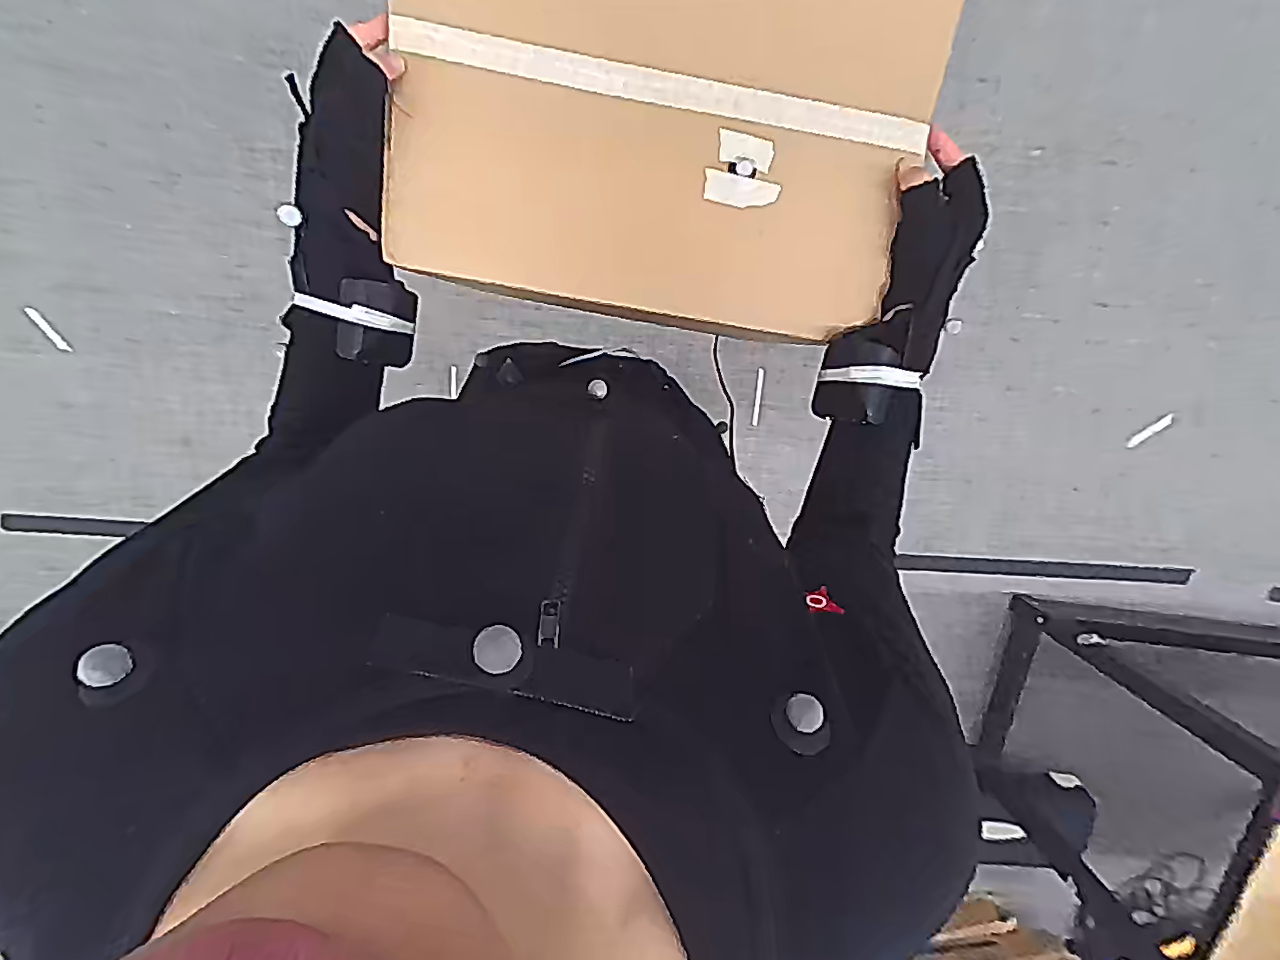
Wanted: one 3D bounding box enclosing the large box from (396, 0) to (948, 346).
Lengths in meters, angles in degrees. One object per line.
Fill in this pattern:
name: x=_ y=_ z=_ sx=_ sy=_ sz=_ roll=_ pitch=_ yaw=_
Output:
large box: x=0.011 y=-0.326 z=0.557 sx=0.408 sy=0.320 sz=0.320 roll=9 pitch=106 yaw=-5
